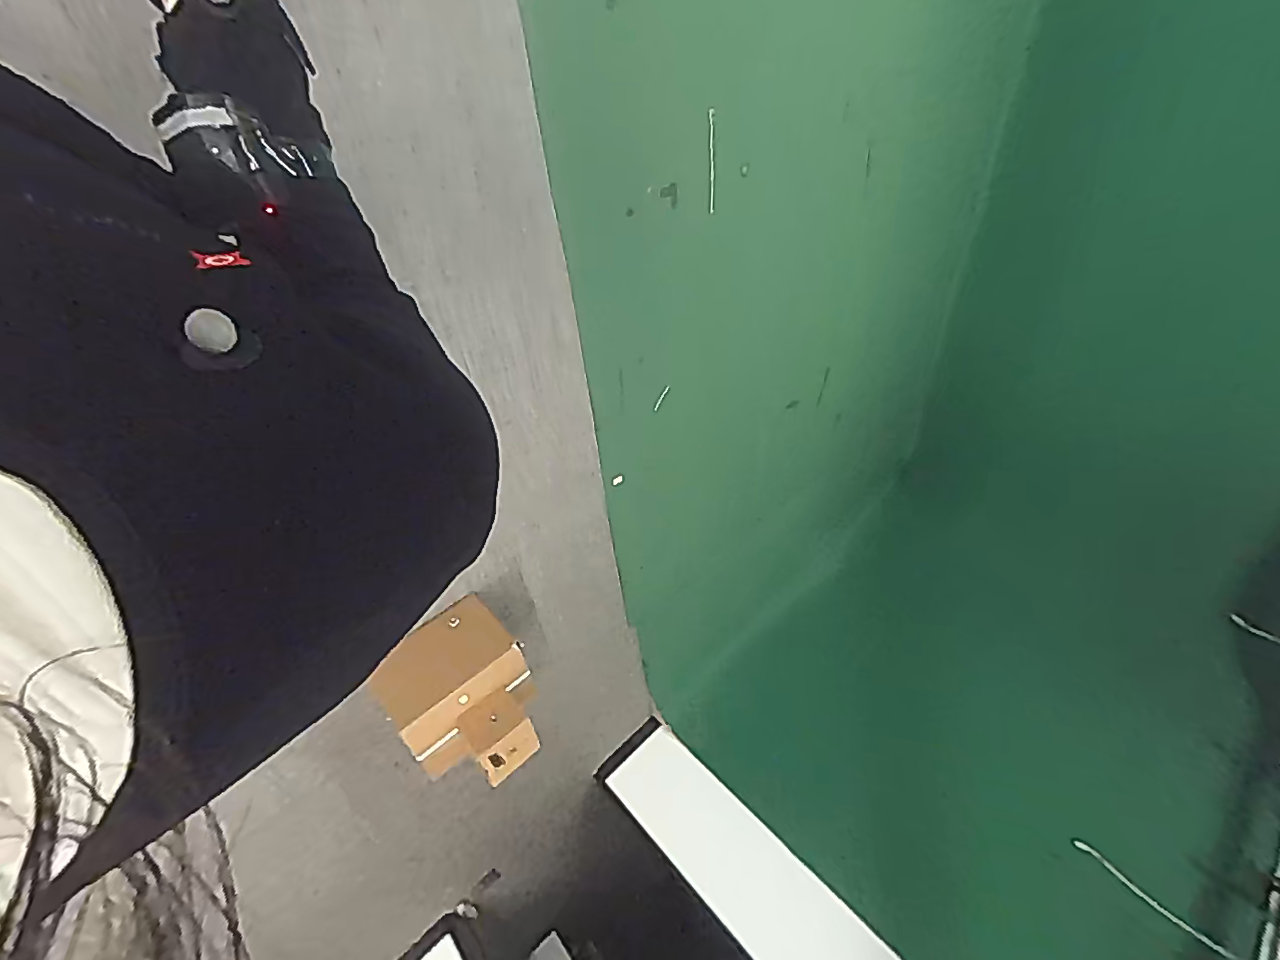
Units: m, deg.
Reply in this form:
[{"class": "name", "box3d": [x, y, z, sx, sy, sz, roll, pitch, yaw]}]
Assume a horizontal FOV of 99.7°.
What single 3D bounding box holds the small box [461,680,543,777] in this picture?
[{"class": "small box", "box3d": [-0.438, 0.769, 1.690, 0.179, 0.176, 0.168, -33, 129, -27]}]
